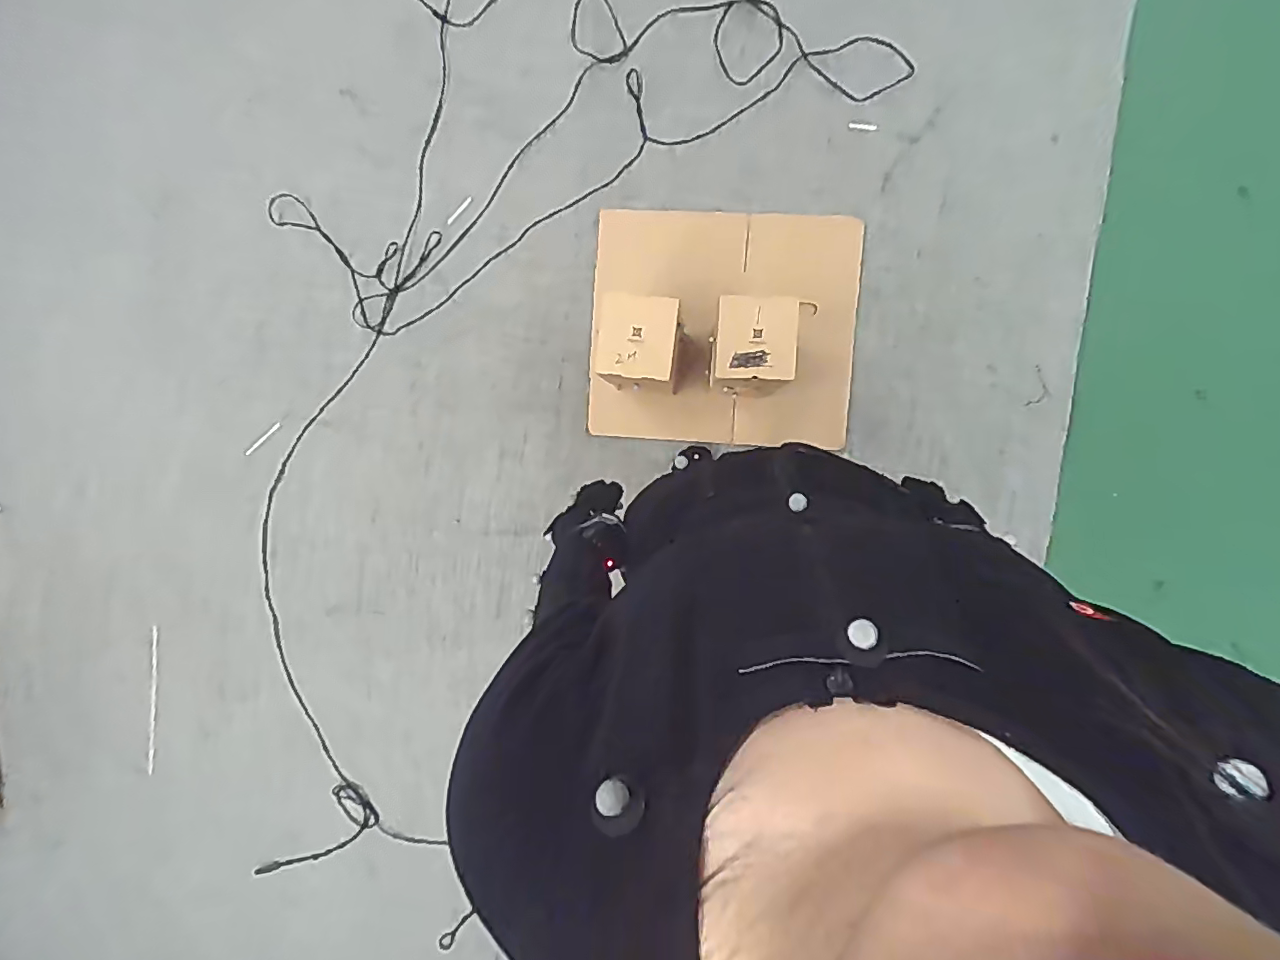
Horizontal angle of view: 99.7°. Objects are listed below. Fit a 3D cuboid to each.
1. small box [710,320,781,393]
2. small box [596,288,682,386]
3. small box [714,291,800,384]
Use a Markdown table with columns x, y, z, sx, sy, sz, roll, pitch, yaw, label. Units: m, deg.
| x | y | z | sx | sy | sz | roll | pitch | yaw | label |
| --- | --- | --- | --- | --- | --- | --- | --- | --- | --- |
| 0.265 | -0.317 | 1.359 | 0.168 | 0.176 | 0.179 | 3 | 95 | 5 | small box |
| 0.004 | -0.315 | 1.217 | 0.168 | 0.176 | 0.179 | 7 | 95 | 6 | small box |
| 0.251 | -0.308 | 1.196 | 0.168 | 0.176 | 0.179 | 3 | 94 | 5 | small box |
